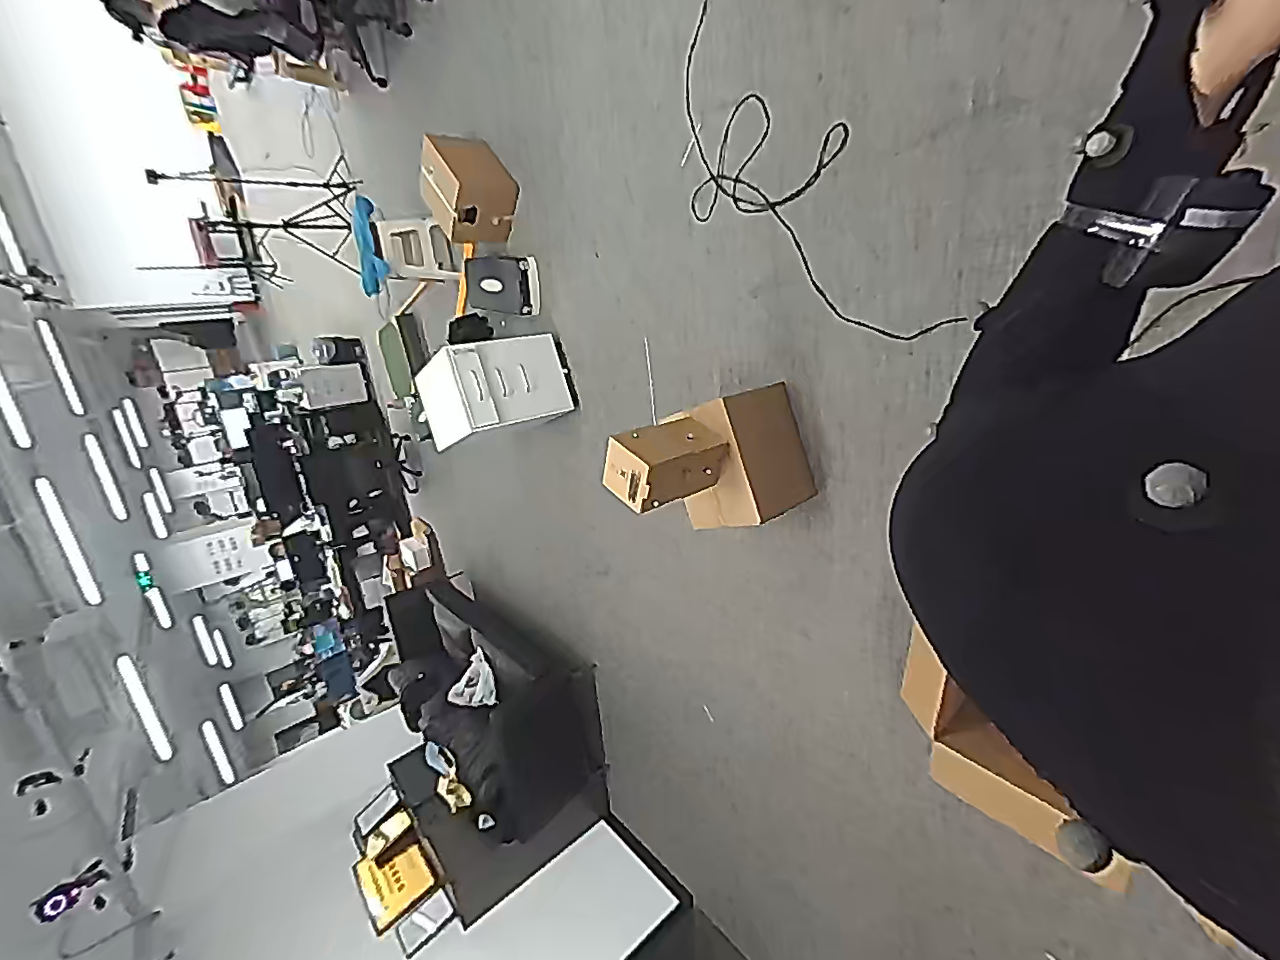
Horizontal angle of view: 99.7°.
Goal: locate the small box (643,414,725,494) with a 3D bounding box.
[{"bbox_3d":[0.137,-0.087,1.671,0.179,0.176,0.168,37,132,33],"label":"small box"}]
